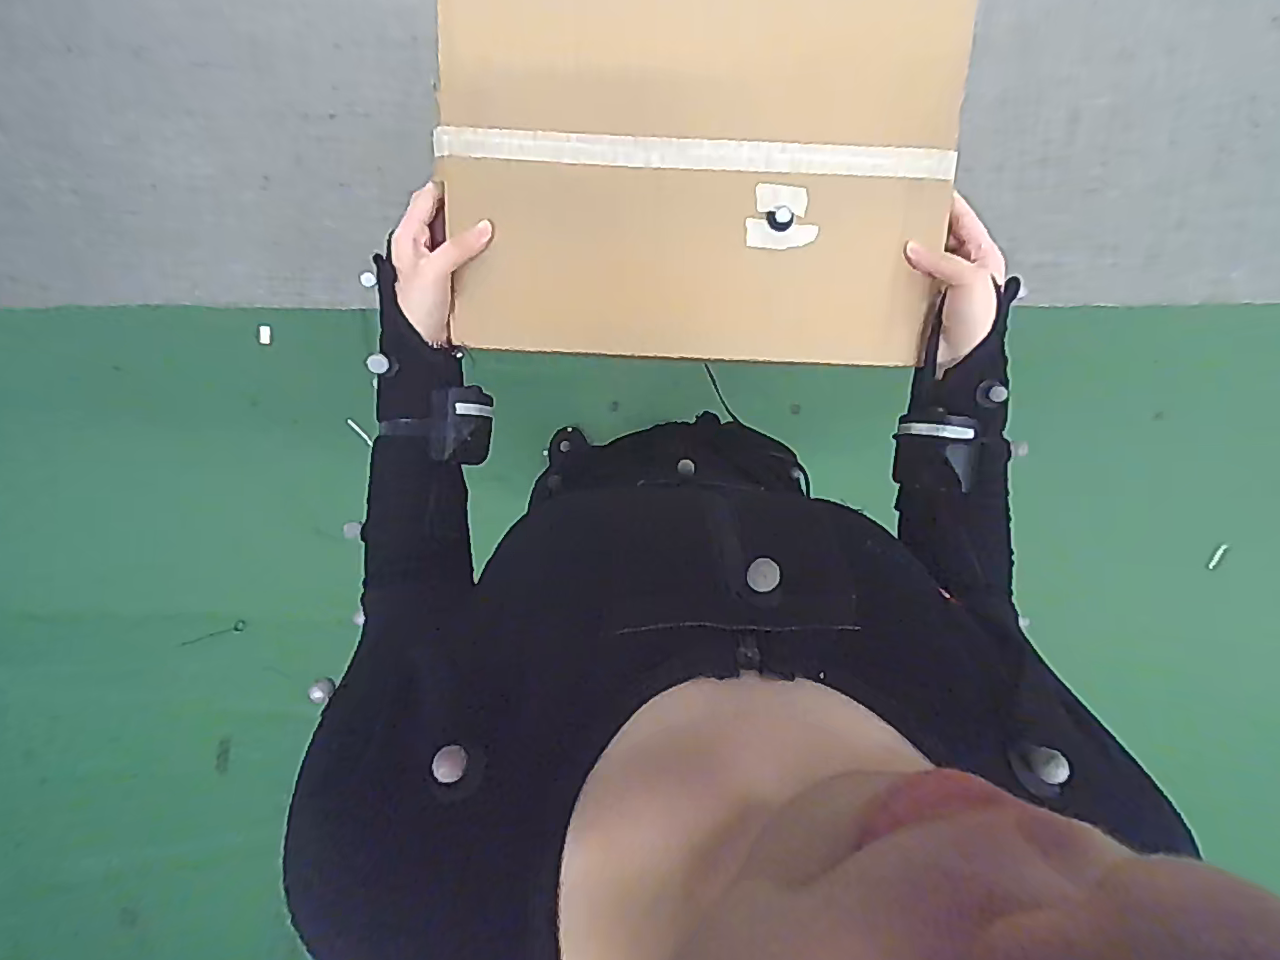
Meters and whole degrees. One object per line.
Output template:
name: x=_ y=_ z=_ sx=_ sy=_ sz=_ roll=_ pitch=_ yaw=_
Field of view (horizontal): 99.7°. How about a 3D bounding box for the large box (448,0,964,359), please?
large box: x=0.044 y=-0.293 z=0.581 sx=0.408 sy=0.320 sz=0.320 roll=2 pitch=103 yaw=-3
